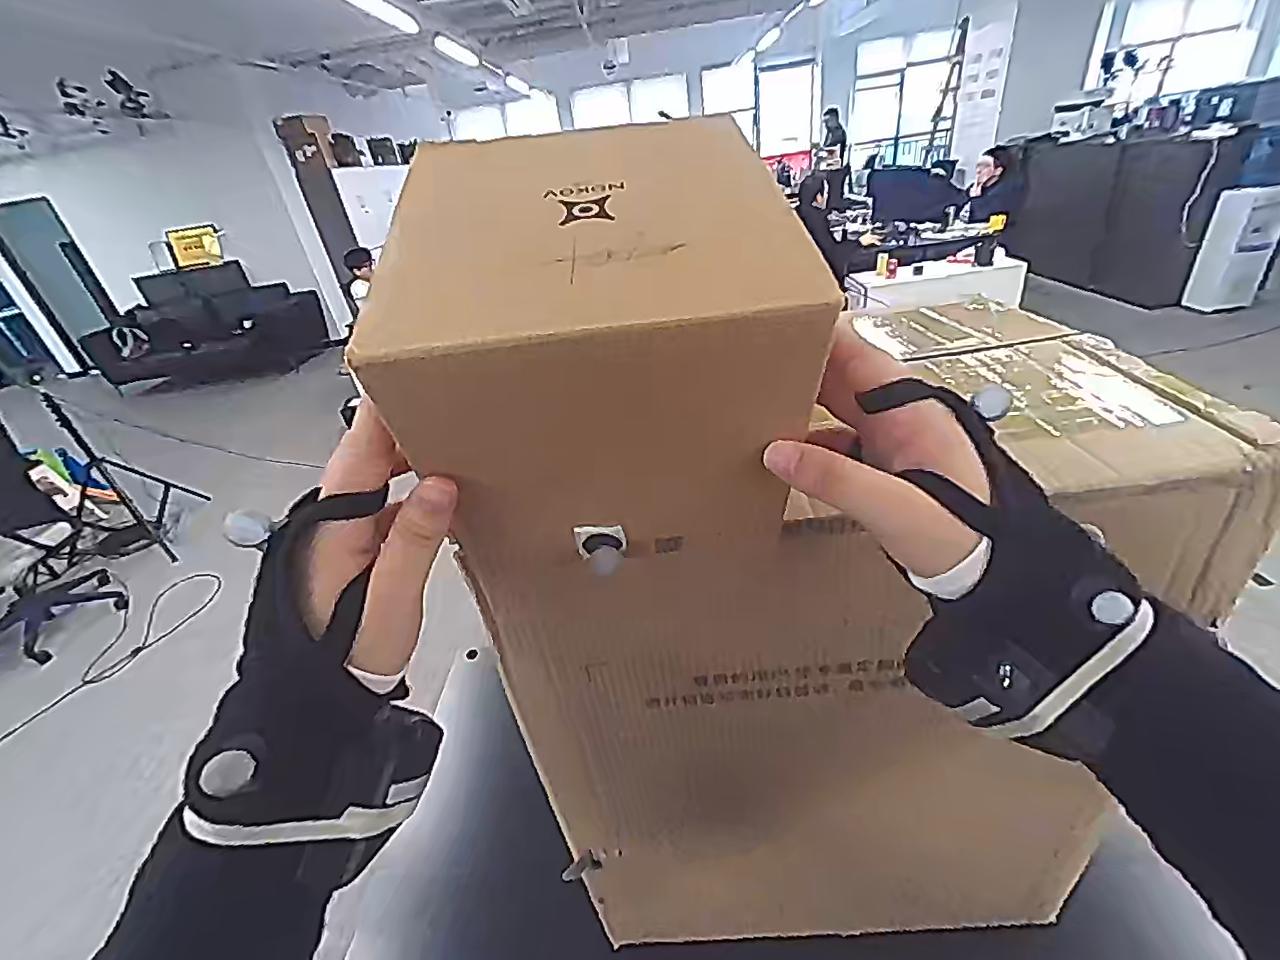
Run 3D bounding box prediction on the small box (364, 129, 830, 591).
[{"bbox_3d":[-0.019,-0.062,0.300,0.168,0.176,0.179,-9,52,-1],"label":"small box"}]
